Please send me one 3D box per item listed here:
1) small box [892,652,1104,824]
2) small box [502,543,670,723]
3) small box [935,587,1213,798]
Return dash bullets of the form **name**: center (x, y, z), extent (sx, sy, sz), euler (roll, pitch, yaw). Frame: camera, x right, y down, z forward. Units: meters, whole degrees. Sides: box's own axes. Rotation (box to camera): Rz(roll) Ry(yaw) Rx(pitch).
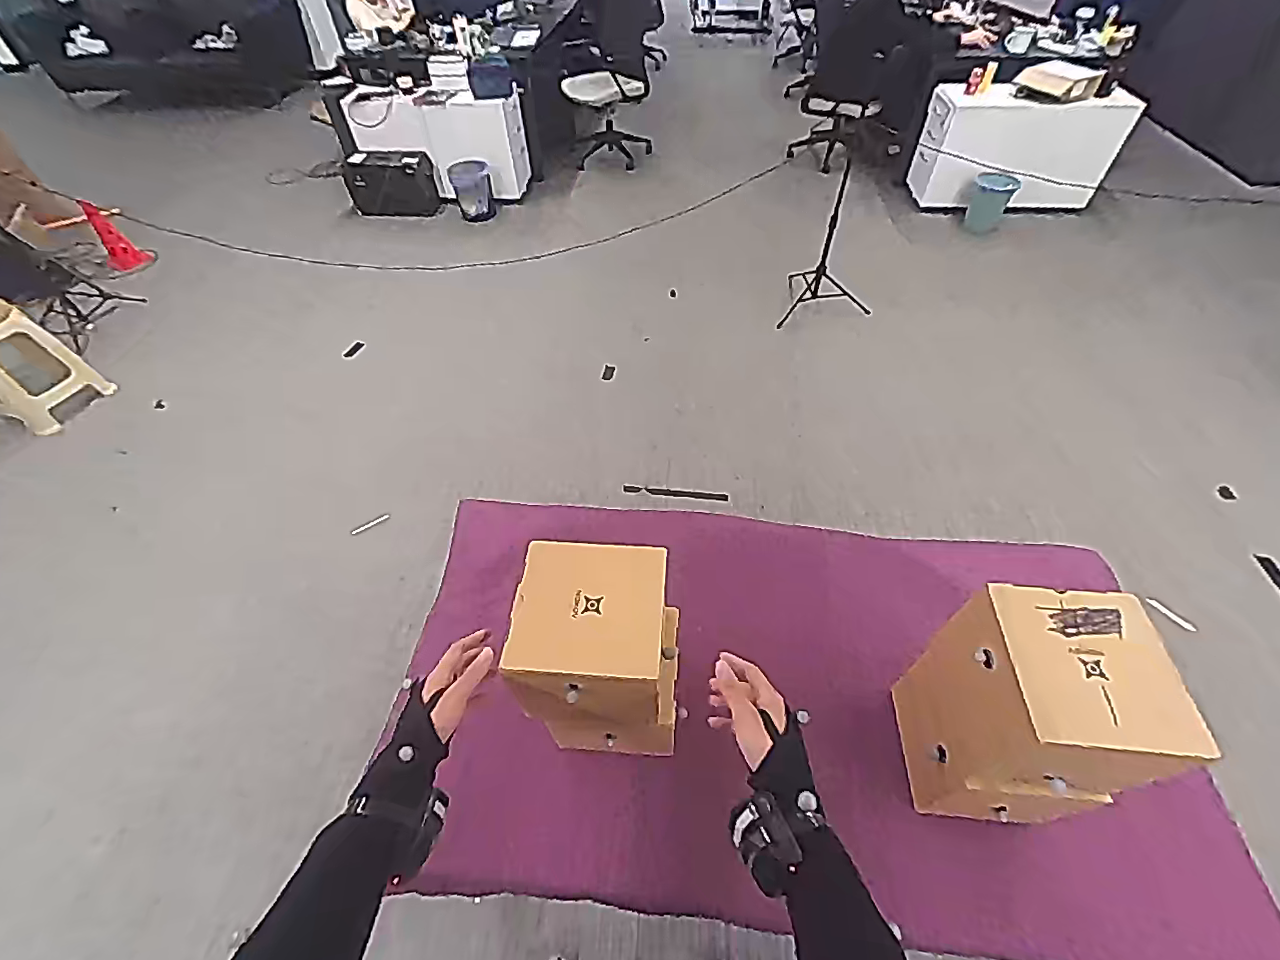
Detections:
- **small box**: center (0.474, 0.361, 0.752), extent (0.168, 0.176, 0.179), euler (4, 50, 5)
- **small box**: center (-0.054, 0.198, 0.689), extent (0.179, 0.176, 0.168), euler (2, 51, 5)
- **small box**: center (0.473, 0.249, 0.632), extent (0.168, 0.176, 0.179), euler (4, 51, 5)
